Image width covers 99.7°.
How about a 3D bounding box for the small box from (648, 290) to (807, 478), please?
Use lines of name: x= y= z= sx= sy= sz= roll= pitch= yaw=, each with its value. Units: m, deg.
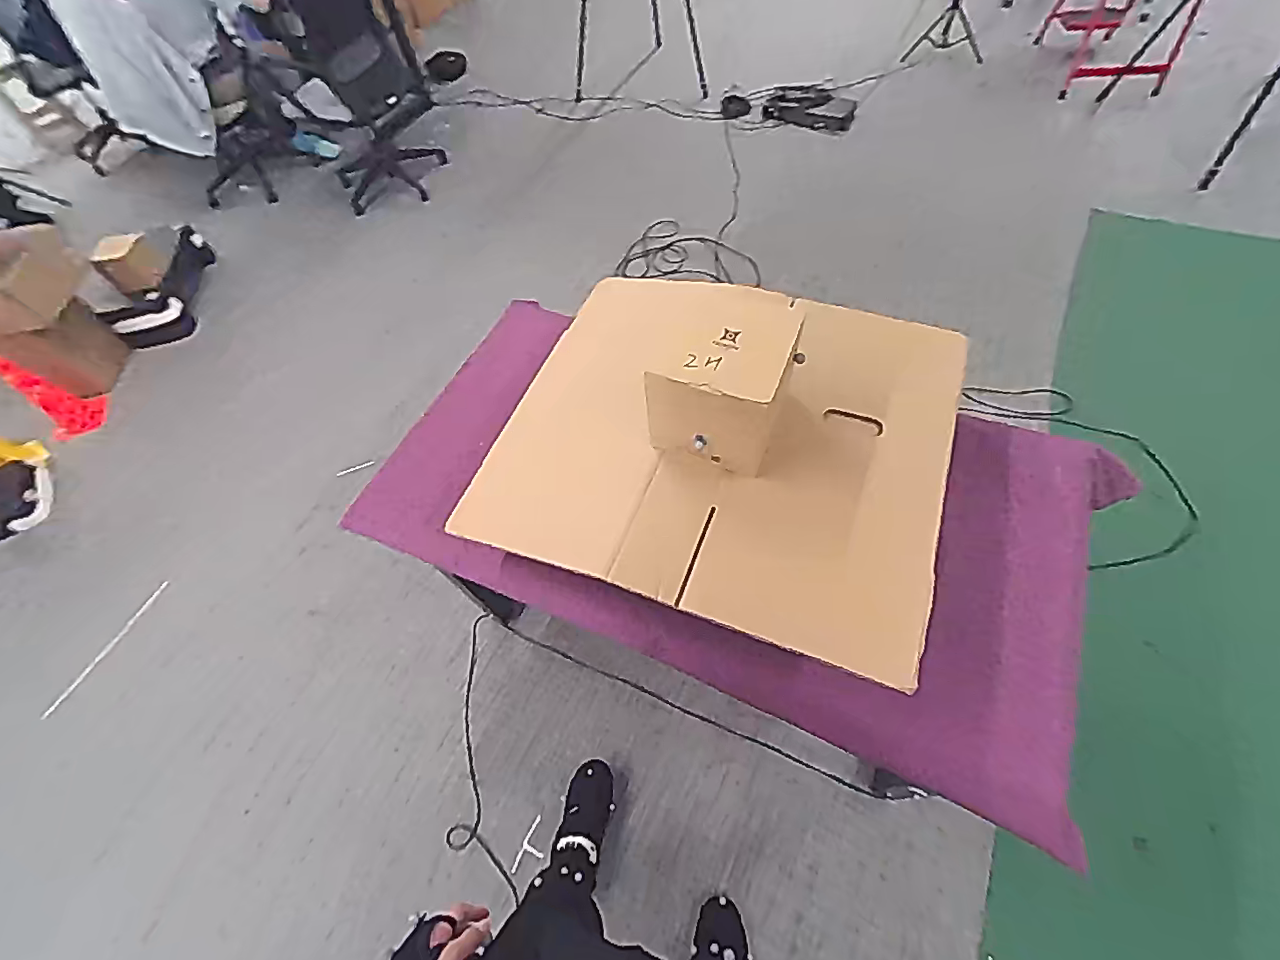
small box: x=0.121 y=-0.134 z=0.770 sx=0.168 sy=0.176 sz=0.179 roll=19 pitch=63 yaw=15
